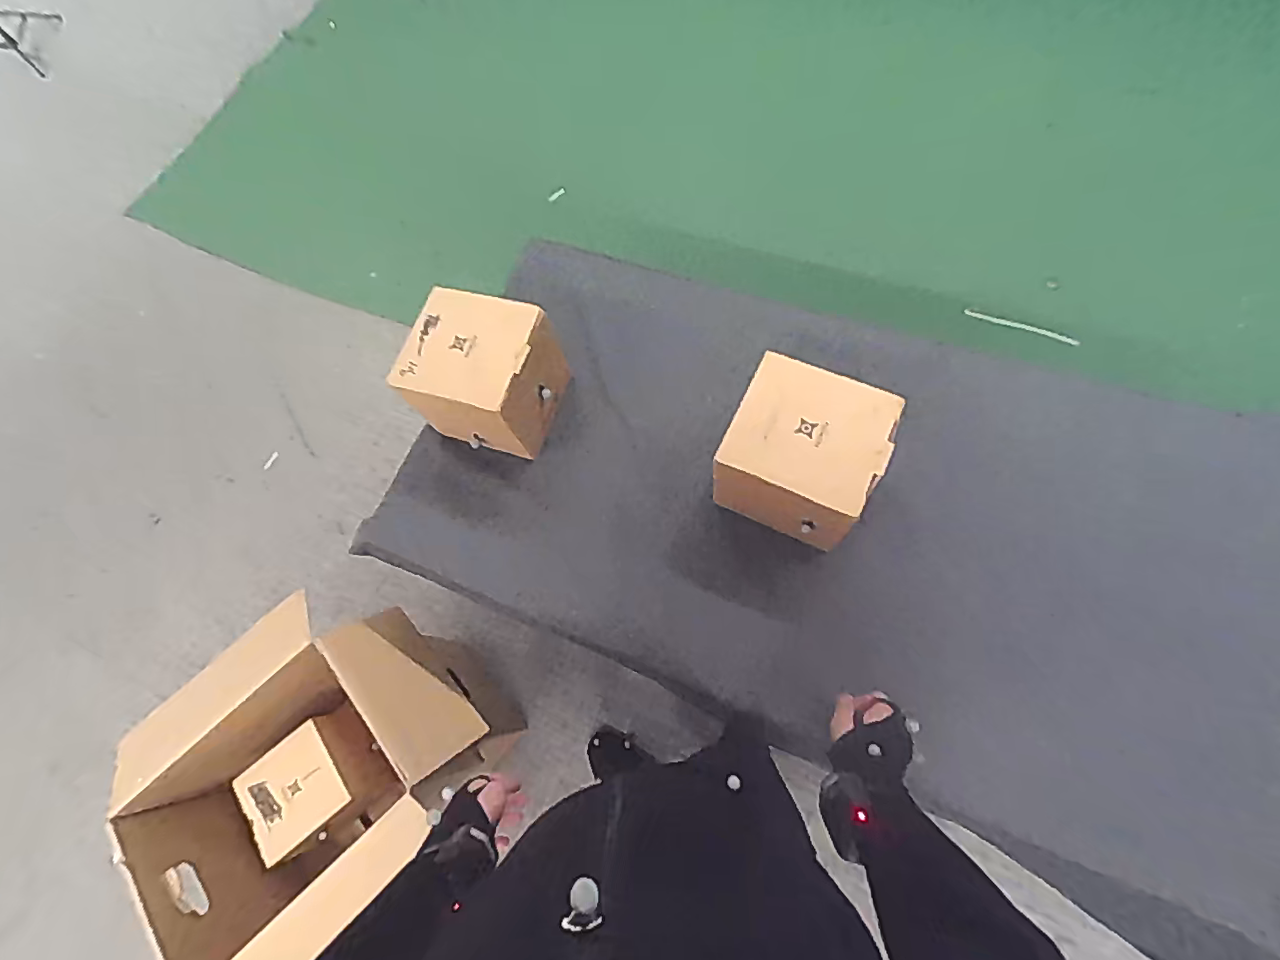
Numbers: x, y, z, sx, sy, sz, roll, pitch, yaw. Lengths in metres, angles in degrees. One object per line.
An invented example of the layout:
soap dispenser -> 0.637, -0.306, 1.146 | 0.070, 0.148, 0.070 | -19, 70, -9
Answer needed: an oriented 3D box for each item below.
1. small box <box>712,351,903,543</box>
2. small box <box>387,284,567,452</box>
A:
small box -> 0.207, -0.032, 0.707 | 0.179, 0.176, 0.168 | 23, 73, 16
small box -> -0.227, -0.158, 0.808 | 0.179, 0.176, 0.168 | 16, 73, 12
